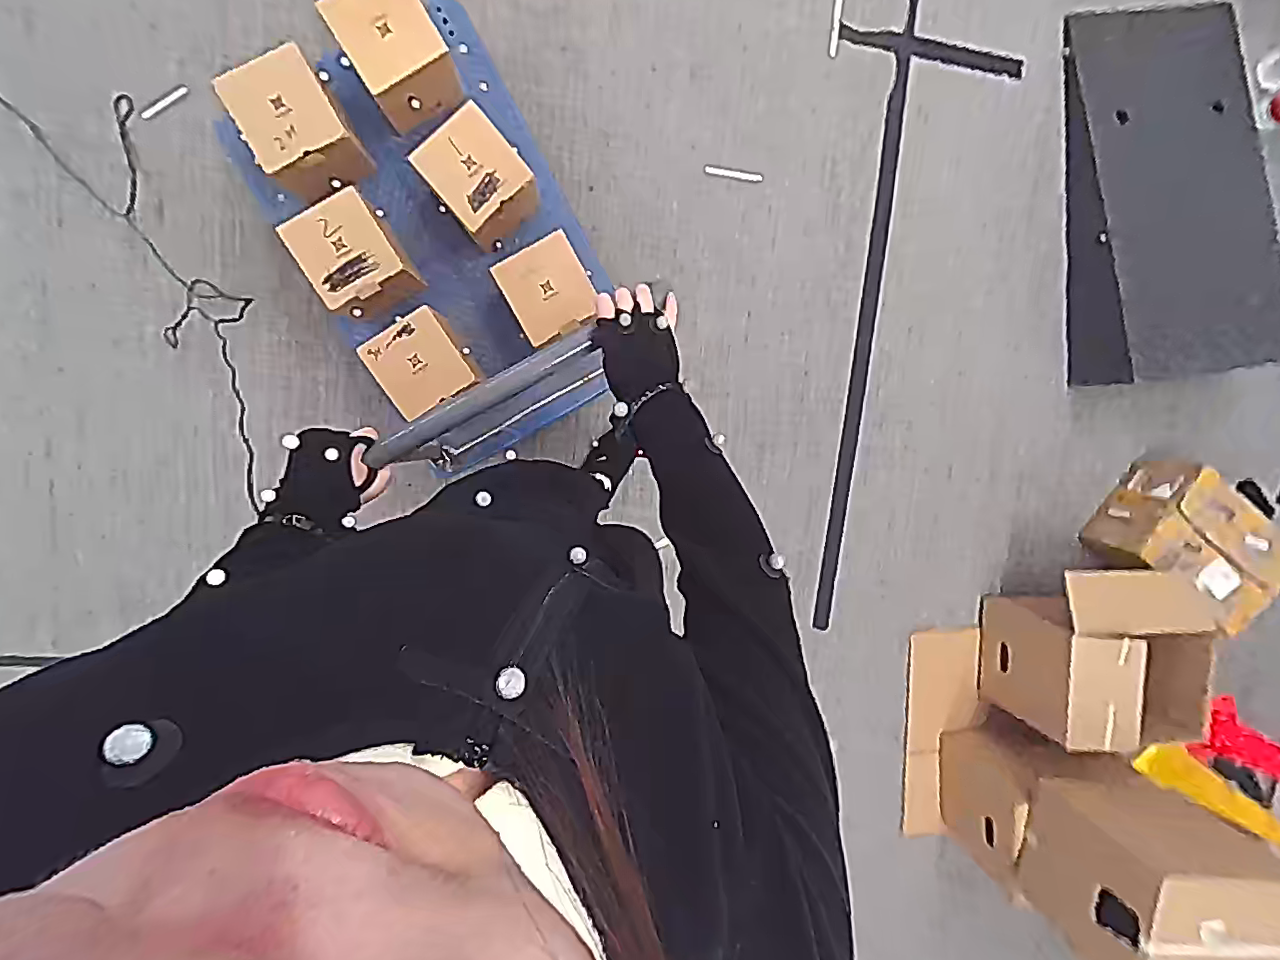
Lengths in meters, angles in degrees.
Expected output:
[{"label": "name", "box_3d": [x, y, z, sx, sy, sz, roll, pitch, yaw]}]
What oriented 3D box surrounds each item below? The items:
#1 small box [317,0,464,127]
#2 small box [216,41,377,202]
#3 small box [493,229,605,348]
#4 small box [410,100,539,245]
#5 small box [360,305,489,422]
[{"label": "small box", "box_3d": [-0.471, -0.832, 1.055, 0.168, 0.176, 0.179, -33, 101, -1]}, {"label": "small box", "box_3d": [-0.654, -0.685, 1.054, 0.168, 0.176, 0.179, -28, 101, -2]}, {"label": "small box", "box_3d": [-0.187, -0.395, 1.154, 0.168, 0.176, 0.179, -30, 100, -2]}, {"label": "small box", "box_3d": [-0.324, -0.608, 1.105, 0.168, 0.176, 0.179, -42, 100, 1]}, {"label": "small box", "box_3d": [-0.443, -0.242, 1.145, 0.168, 0.176, 0.179, -34, 101, -2]}]
